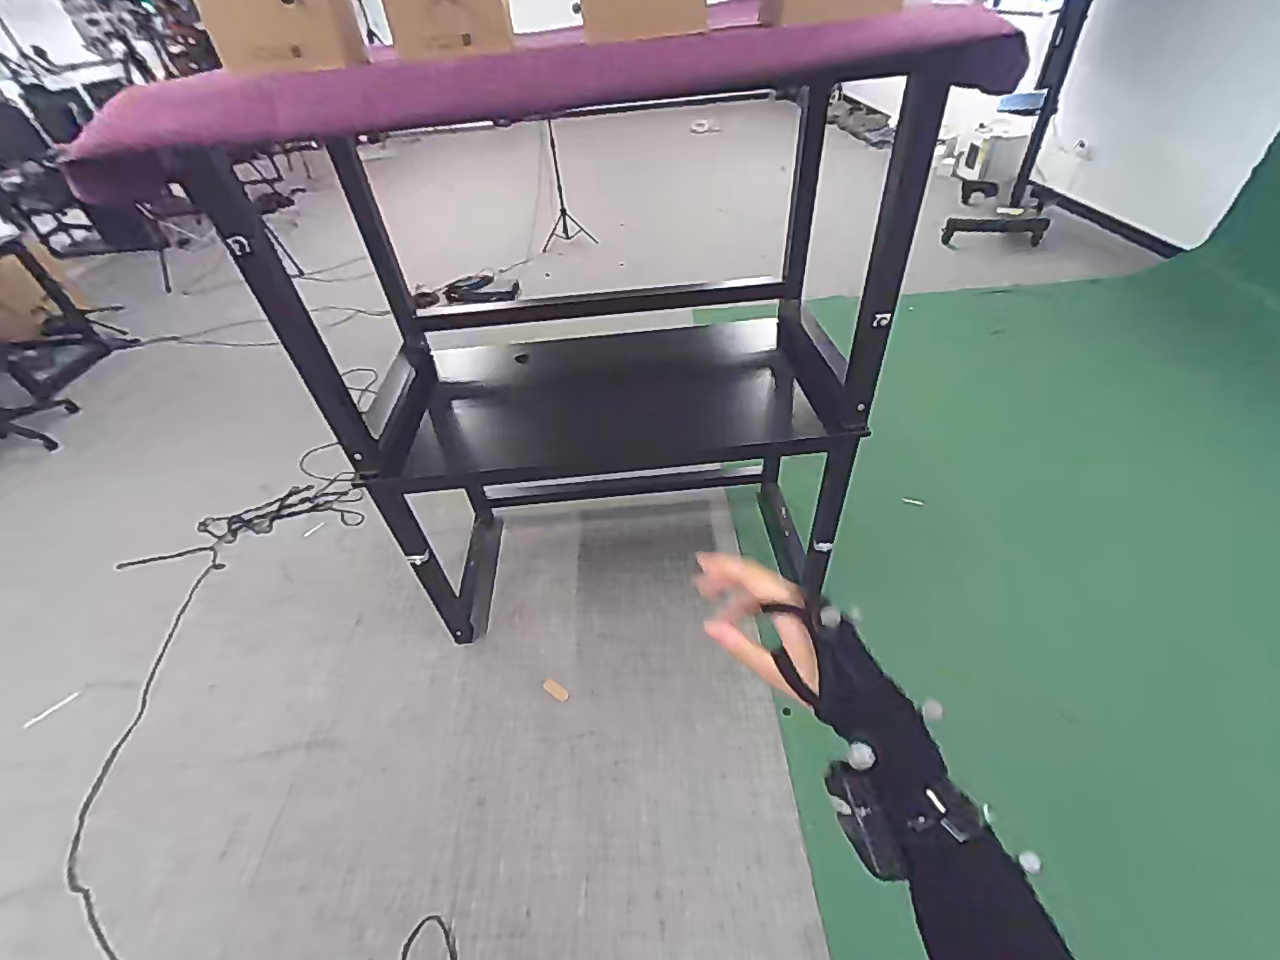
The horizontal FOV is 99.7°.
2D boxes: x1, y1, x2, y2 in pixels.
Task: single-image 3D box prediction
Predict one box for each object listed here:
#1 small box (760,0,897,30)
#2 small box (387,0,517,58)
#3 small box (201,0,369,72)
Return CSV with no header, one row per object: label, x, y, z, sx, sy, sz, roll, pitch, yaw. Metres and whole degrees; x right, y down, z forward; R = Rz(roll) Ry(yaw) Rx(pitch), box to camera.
small box,0.280,-0.770,0.777,0.179,0.176,0.168,-6,42,1
small box,-0.282,-0.737,0.798,0.168,0.176,0.179,-8,42,-4
small box,-0.521,-0.707,0.788,0.168,0.176,0.179,-8,41,-5
